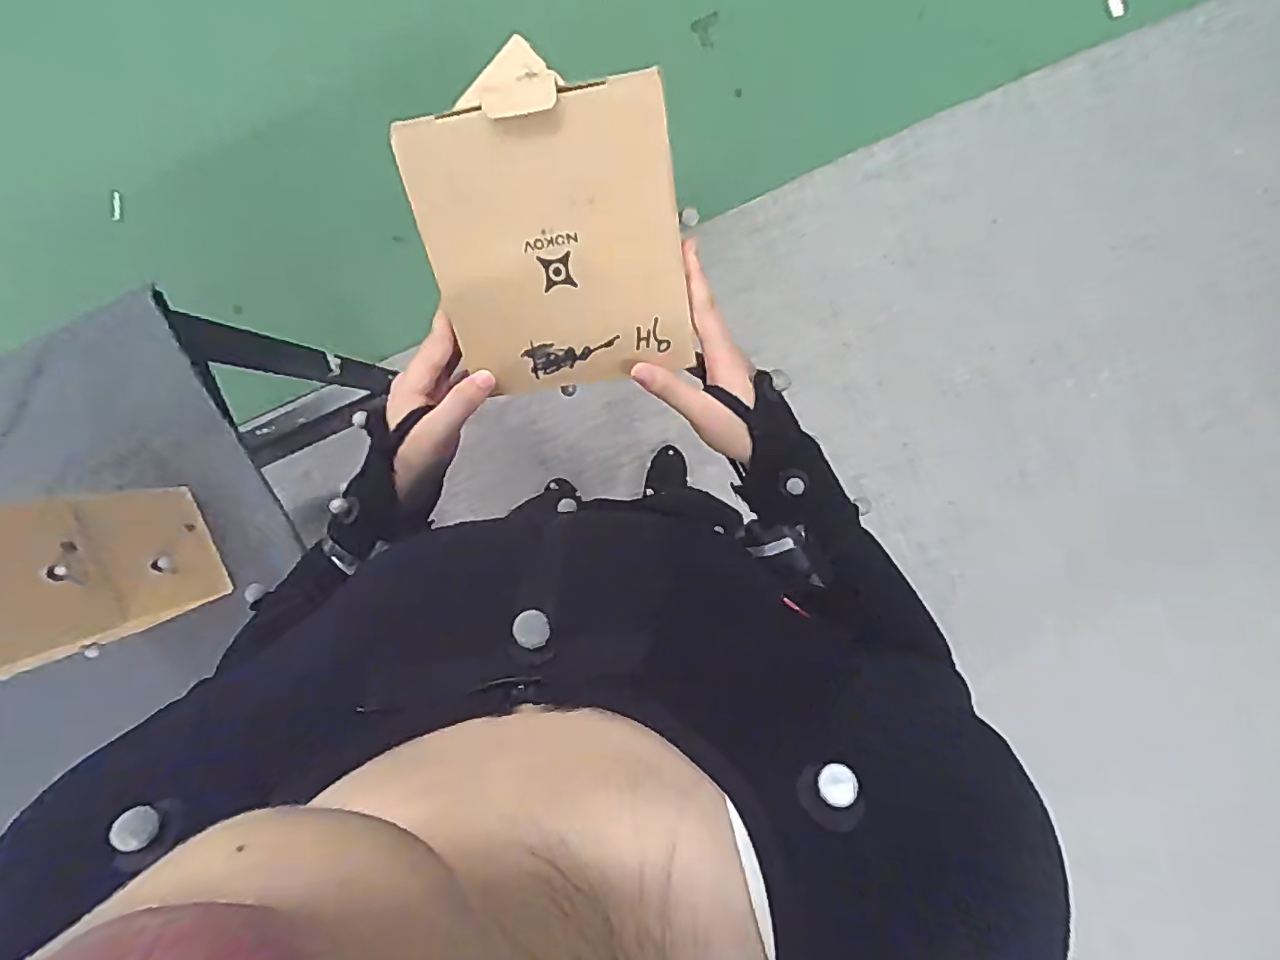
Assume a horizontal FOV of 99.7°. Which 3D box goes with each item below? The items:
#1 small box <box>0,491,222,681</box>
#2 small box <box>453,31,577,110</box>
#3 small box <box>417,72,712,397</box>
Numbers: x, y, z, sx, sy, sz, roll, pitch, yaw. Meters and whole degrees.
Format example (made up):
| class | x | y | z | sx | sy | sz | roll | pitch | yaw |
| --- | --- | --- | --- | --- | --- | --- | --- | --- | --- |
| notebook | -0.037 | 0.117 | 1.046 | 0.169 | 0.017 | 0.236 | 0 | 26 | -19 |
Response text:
| class | x | y | z | sx | sy | sz | roll | pitch | yaw |
| --- | --- | --- | --- | --- | --- | --- | --- | --- | --- |
| small box | -0.697 | 0.123 | 0.703 | 0.179 | 0.176 | 0.168 | -23 | 93 | 5 |
| small box | -0.217 | -0.678 | 1.035 | 0.168 | 0.176 | 0.179 | 44 | 95 | -2 |
| small box | -0.038 | -0.183 | 0.417 | 0.168 | 0.176 | 0.179 | -6 | 120 | 6 |
